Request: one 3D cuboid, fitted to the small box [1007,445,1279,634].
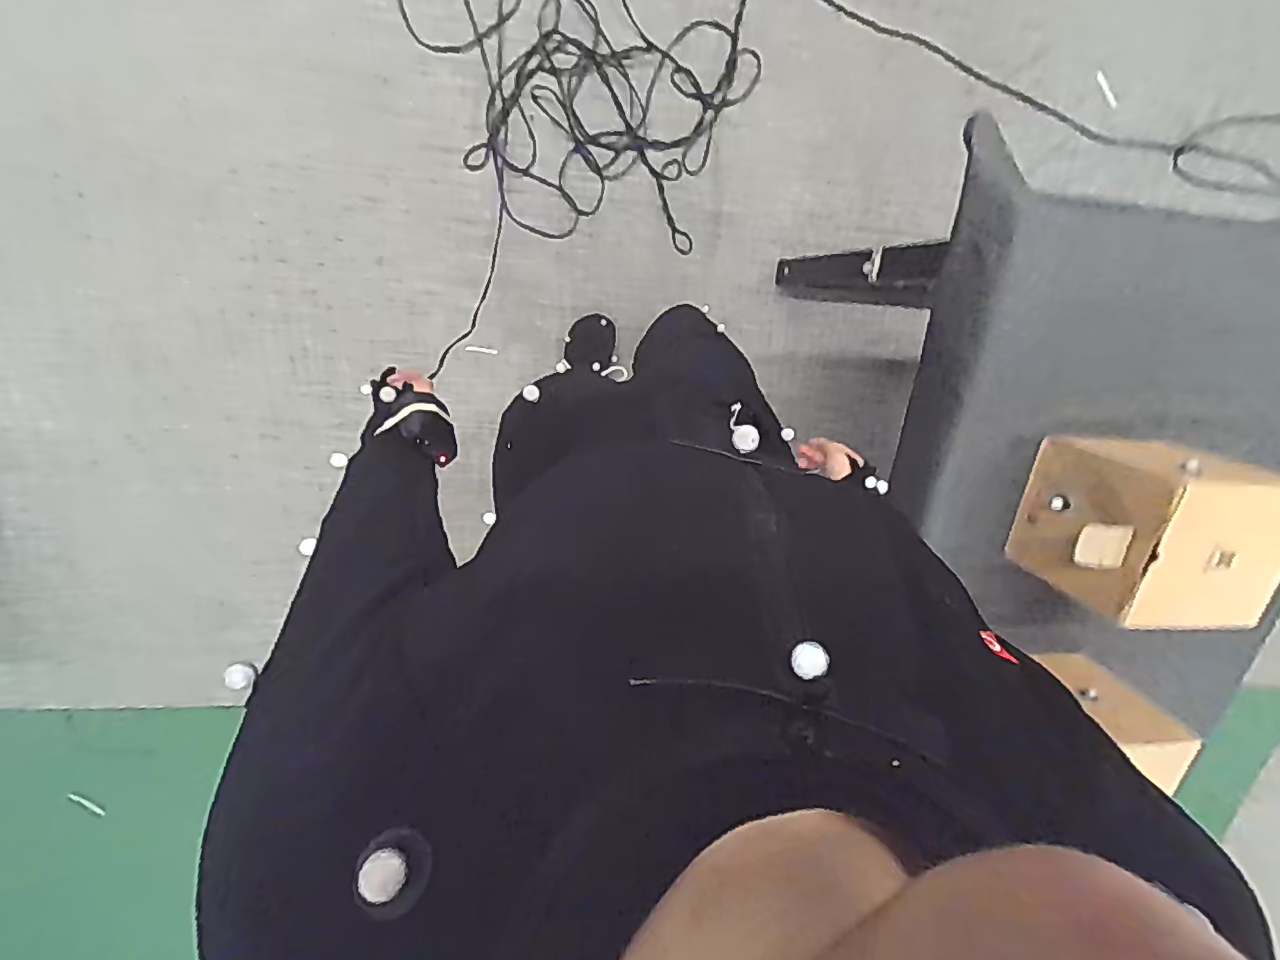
[{"bbox_3d":[0.588,0.061,0.632,0.179,0.176,0.168,1,110,-8],"label":"small box"}]
